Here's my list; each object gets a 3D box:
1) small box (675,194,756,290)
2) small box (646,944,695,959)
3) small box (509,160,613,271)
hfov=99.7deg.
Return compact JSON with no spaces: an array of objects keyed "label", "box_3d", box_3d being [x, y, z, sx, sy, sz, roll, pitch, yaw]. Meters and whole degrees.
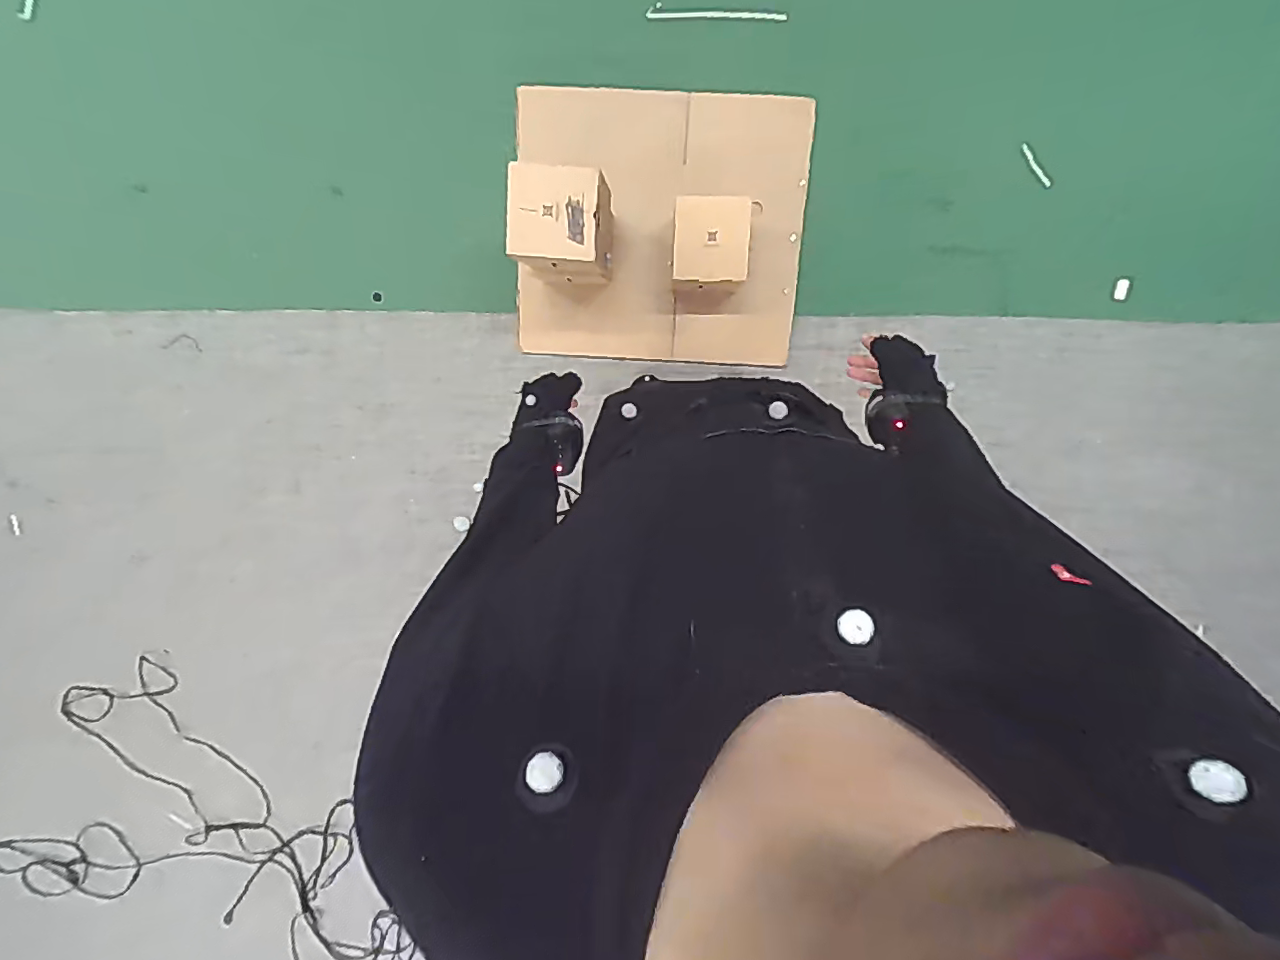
[{"label":"small box","box_3d":[0.167,-0.542,1.247,0.168,0.176,0.179,2,104,2]},{"label":"small box","box_3d":[0.098,1.709,1.811,0.168,0.176,0.179,7,103,1]},{"label":"small box","box_3d":[-0.153,-0.524,1.093,0.179,0.176,0.168,7,104,3]}]
